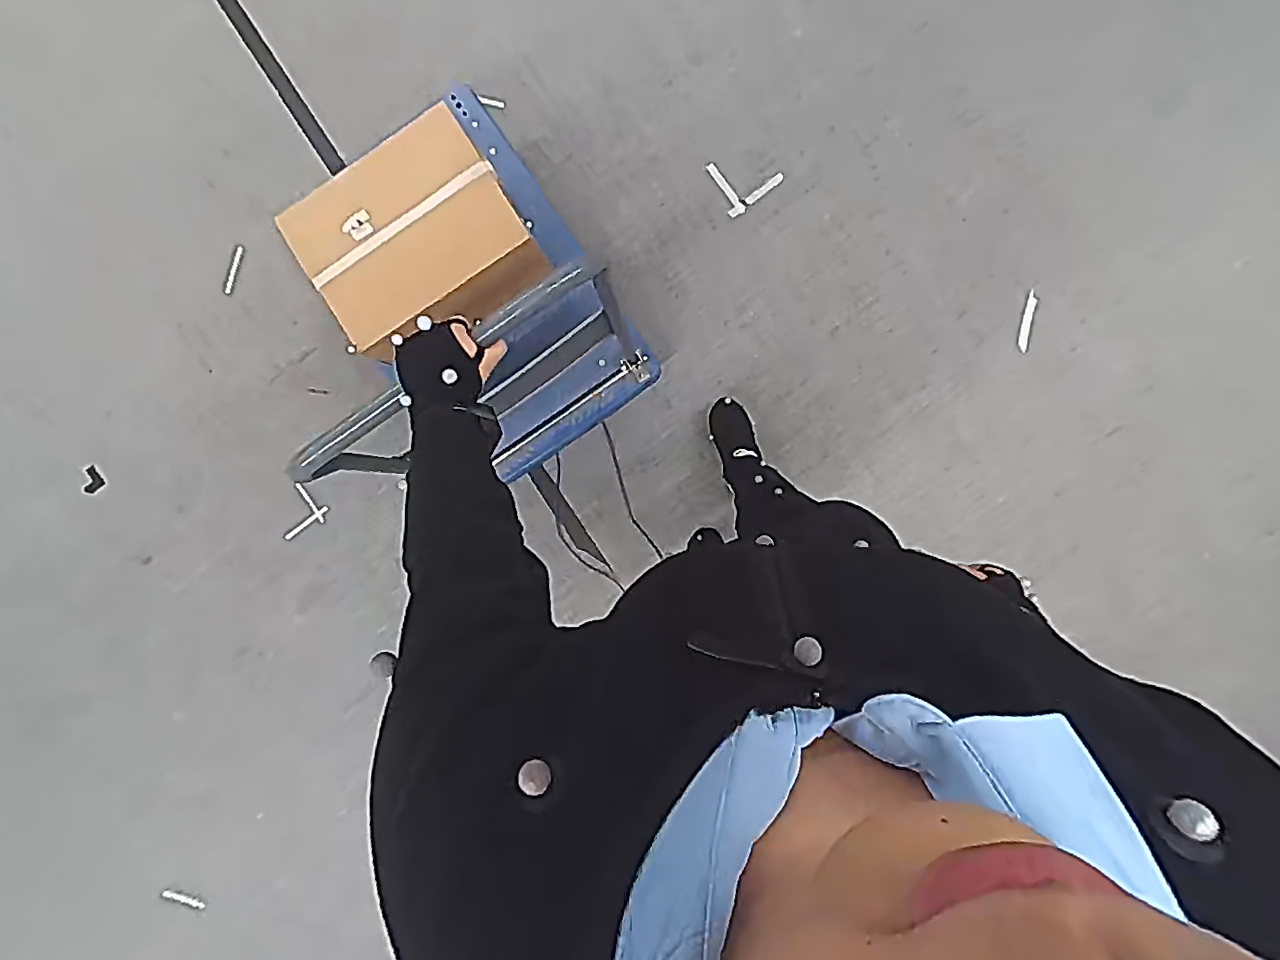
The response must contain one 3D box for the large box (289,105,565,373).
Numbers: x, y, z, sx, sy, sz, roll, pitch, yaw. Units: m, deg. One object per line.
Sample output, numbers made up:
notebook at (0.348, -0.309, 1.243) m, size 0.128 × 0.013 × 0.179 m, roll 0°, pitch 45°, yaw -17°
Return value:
large box at (-0.437, -0.491, 1.196) m, size 0.408 × 0.320 × 0.320 m, roll -33°, pitch 88°, yaw 5°
